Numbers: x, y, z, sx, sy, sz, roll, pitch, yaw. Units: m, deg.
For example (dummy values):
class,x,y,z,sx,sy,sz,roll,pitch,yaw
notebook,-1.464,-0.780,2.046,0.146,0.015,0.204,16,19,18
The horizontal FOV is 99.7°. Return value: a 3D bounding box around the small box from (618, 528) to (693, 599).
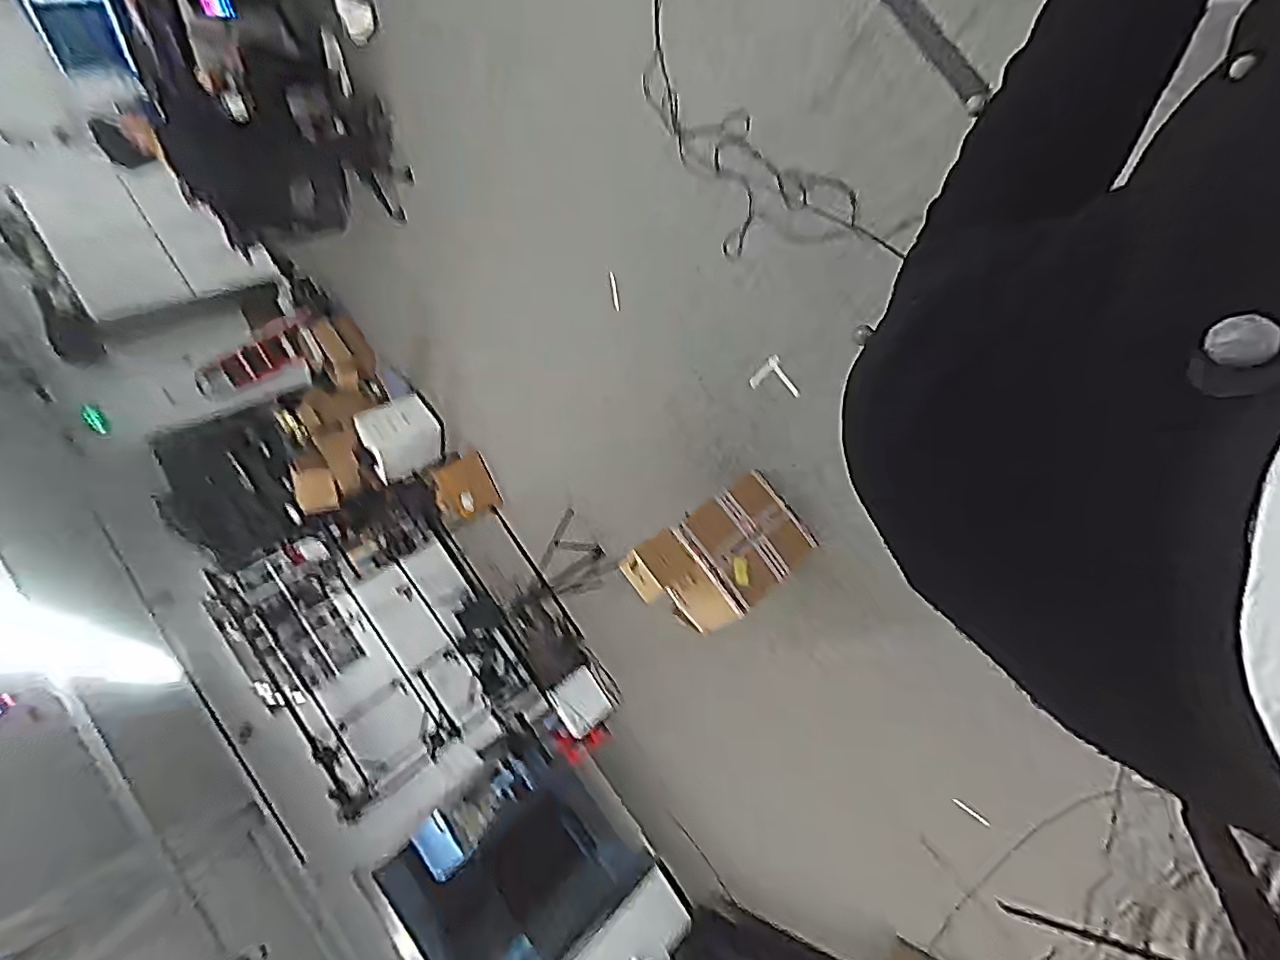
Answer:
class,x,y,z,sx,sy,sz,roll,pitch,yaw
small box,0.055,0.294,1.955,0.179,0.176,0.168,52,145,11
